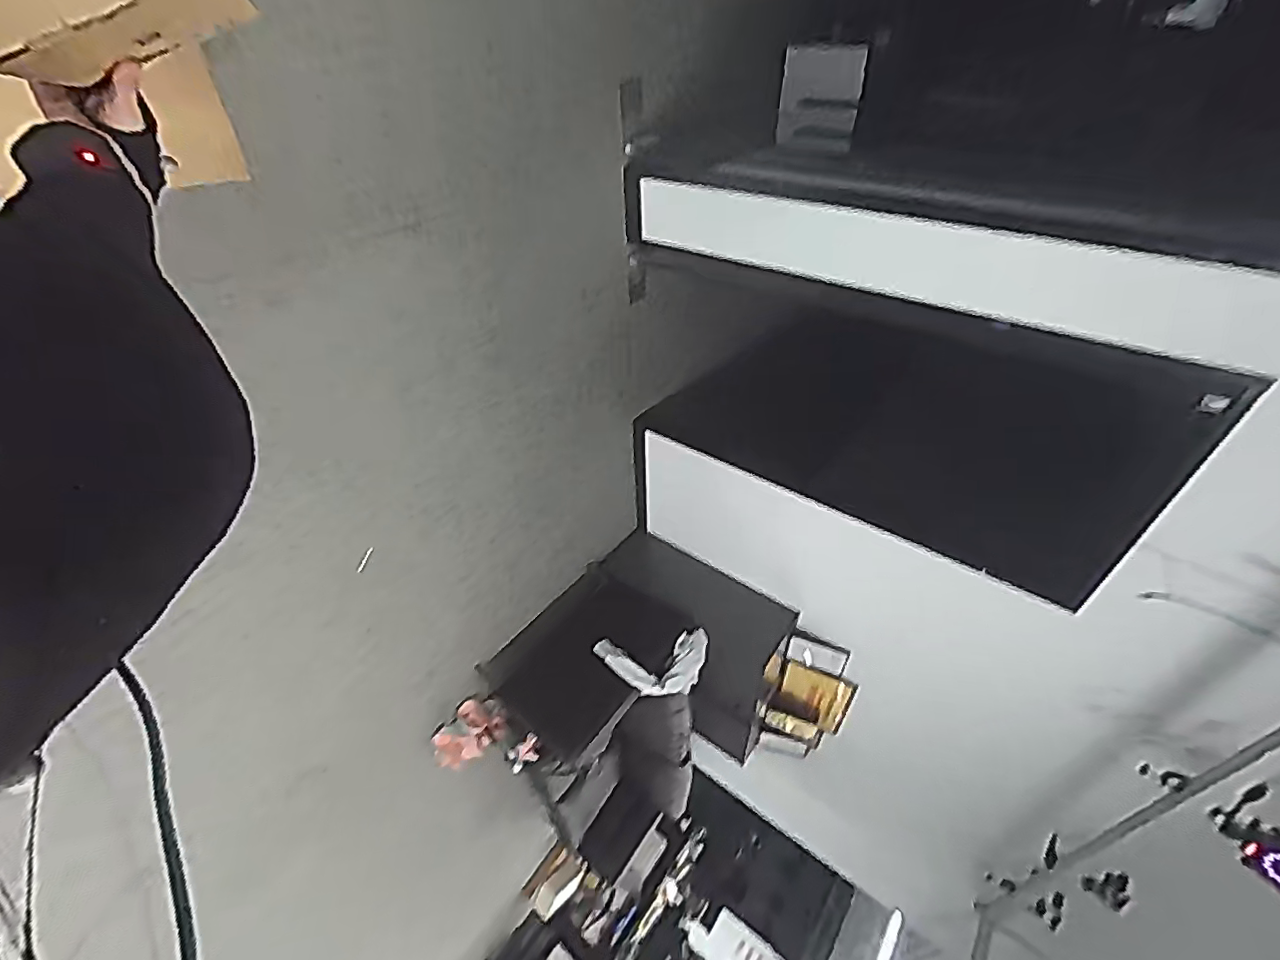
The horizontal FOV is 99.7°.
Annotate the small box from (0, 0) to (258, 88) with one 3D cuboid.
[{"bbox_3d":[-0.409,-0.403,0.362,0.168,0.179,0.176,-30,127,-6],"label":"small box"}]
